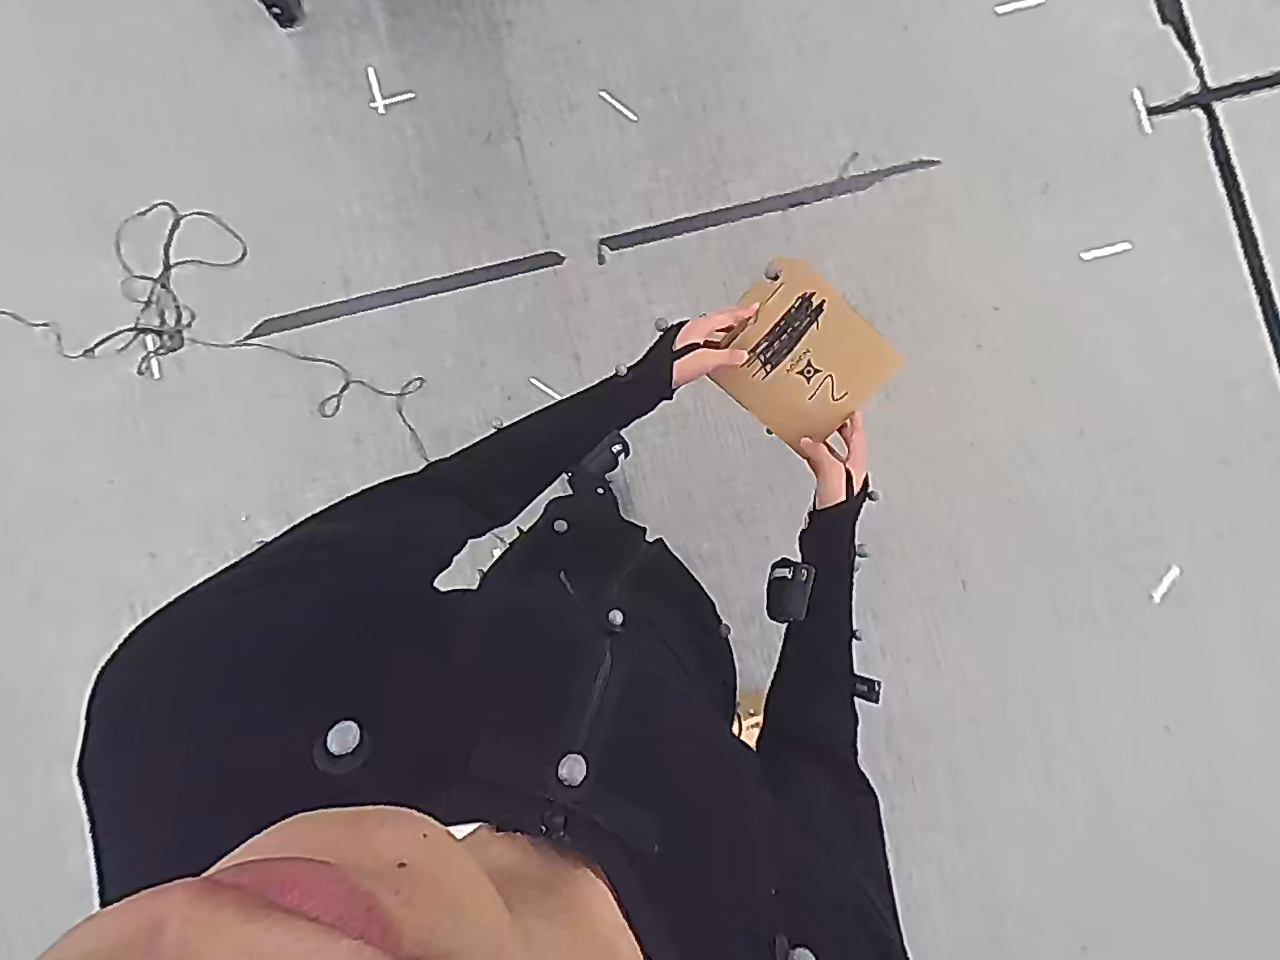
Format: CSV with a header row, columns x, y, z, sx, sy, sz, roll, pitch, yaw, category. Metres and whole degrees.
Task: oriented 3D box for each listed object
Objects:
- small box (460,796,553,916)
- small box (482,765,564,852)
x,y,z,sx,sy,sz,roll,pitch,yaw,category
-0.331,0.940,1.374,0.168,0.176,0.179,-17,90,1,small box
-0.326,0.941,1.537,0.168,0.176,0.179,-17,90,1,small box
